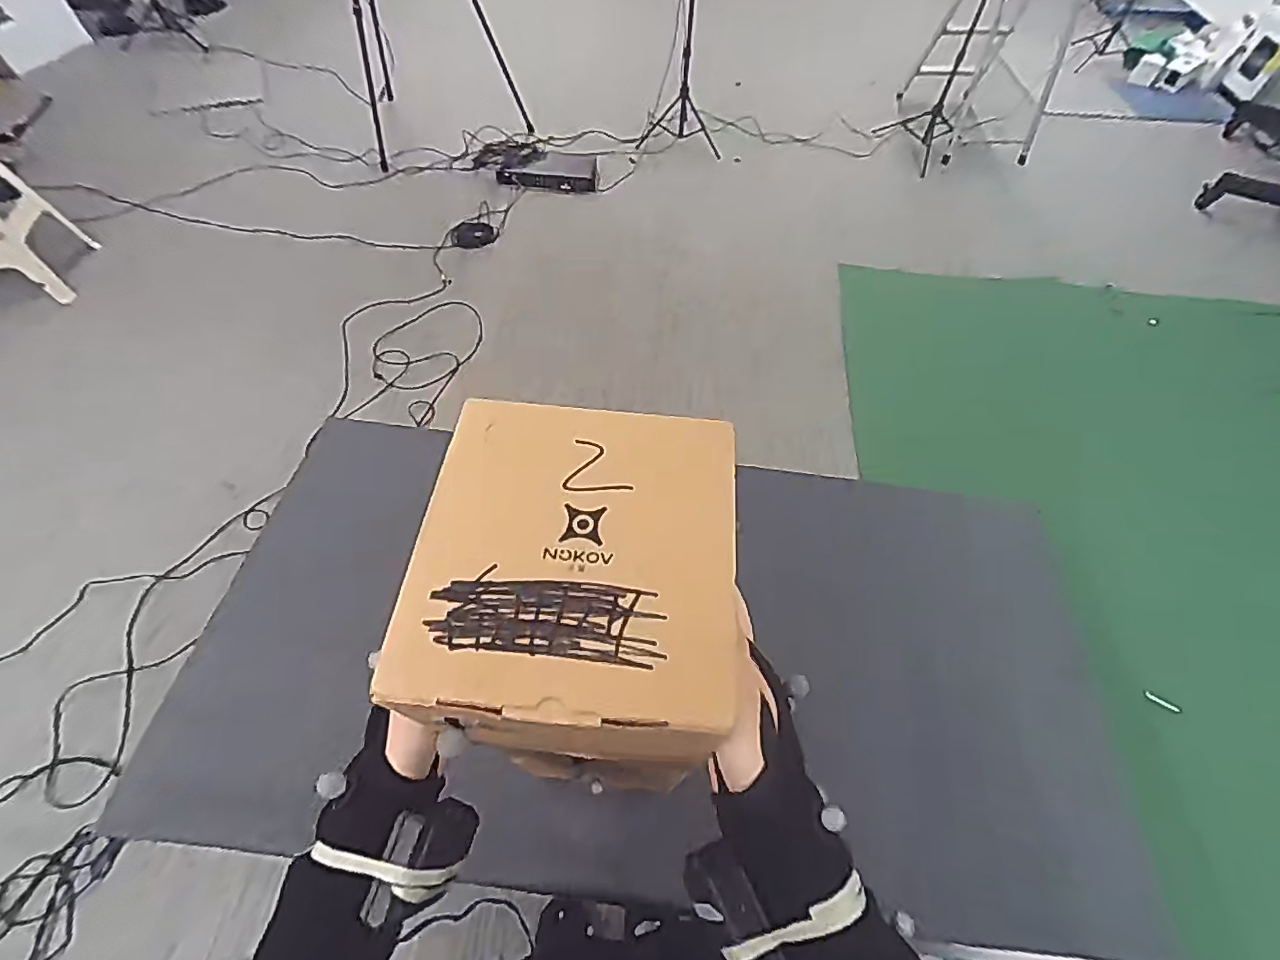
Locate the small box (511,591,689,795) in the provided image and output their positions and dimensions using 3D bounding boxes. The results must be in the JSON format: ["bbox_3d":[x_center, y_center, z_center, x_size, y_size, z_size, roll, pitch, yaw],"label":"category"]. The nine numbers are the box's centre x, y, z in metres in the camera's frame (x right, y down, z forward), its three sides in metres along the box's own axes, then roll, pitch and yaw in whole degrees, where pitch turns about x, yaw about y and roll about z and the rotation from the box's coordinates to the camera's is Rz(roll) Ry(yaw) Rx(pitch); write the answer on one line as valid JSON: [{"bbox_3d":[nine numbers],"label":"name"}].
[{"bbox_3d":[-0.037,0.249,0.624,0.168,0.176,0.179,5,56,2],"label":"small box"}]
